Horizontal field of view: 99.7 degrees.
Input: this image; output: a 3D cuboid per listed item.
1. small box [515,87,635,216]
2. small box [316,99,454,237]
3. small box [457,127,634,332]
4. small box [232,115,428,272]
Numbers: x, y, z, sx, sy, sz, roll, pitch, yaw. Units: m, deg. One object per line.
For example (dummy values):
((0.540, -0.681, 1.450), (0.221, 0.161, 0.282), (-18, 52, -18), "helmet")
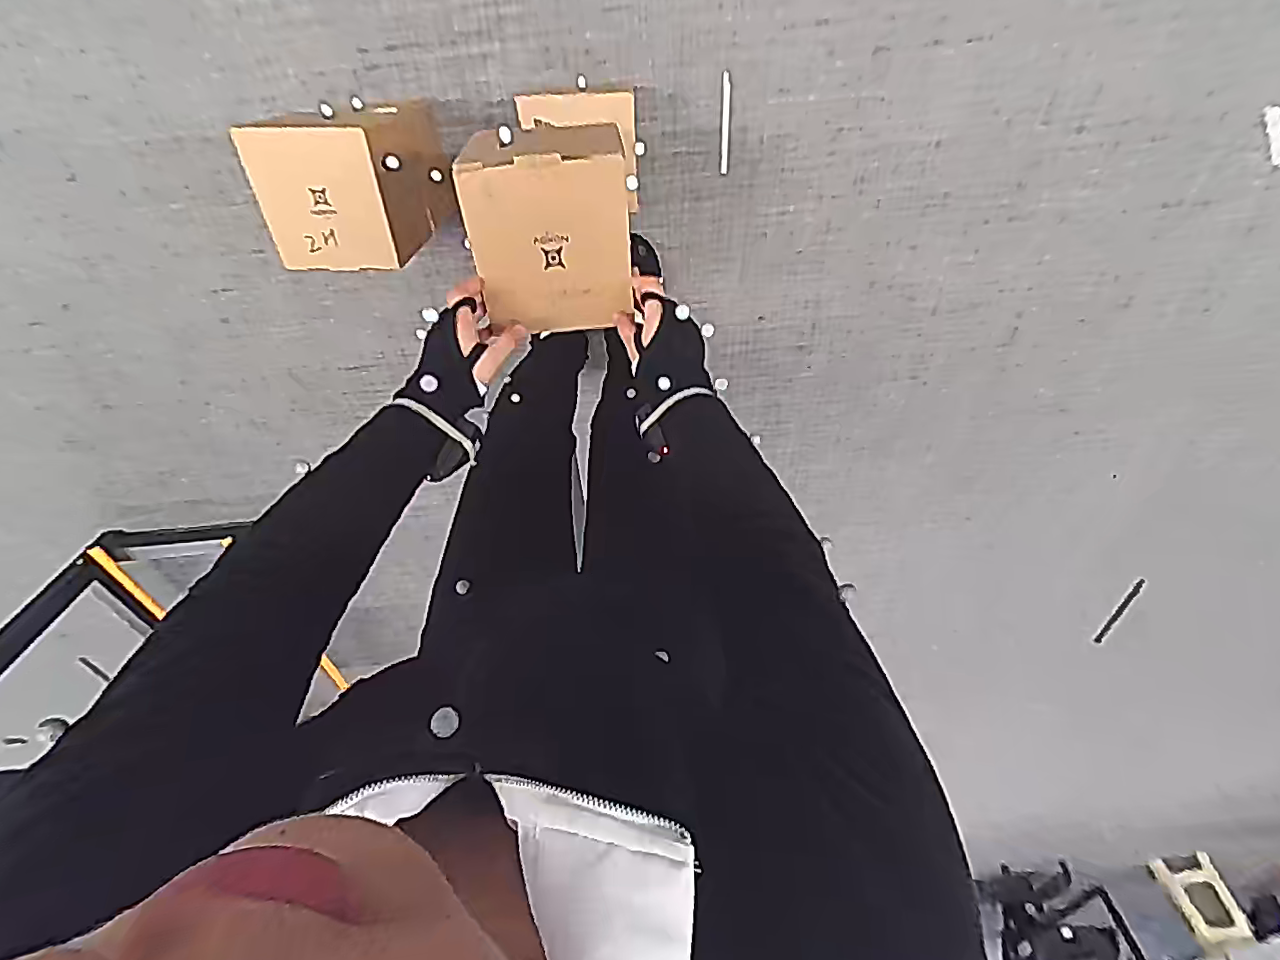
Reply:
((-0.098, -0.547, 0.902), (0.179, 0.176, 0.168), (-3, 130, -1), "small box")
((-0.432, -0.519, 0.909), (0.168, 0.176, 0.179), (-5, 130, 2), "small box")
((-0.098, -0.295, 0.630), (0.168, 0.176, 0.179), (-5, 133, -1), "small box")
((-0.425, -0.416, 0.780), (0.168, 0.176, 0.179), (0, 130, -1), "small box")
